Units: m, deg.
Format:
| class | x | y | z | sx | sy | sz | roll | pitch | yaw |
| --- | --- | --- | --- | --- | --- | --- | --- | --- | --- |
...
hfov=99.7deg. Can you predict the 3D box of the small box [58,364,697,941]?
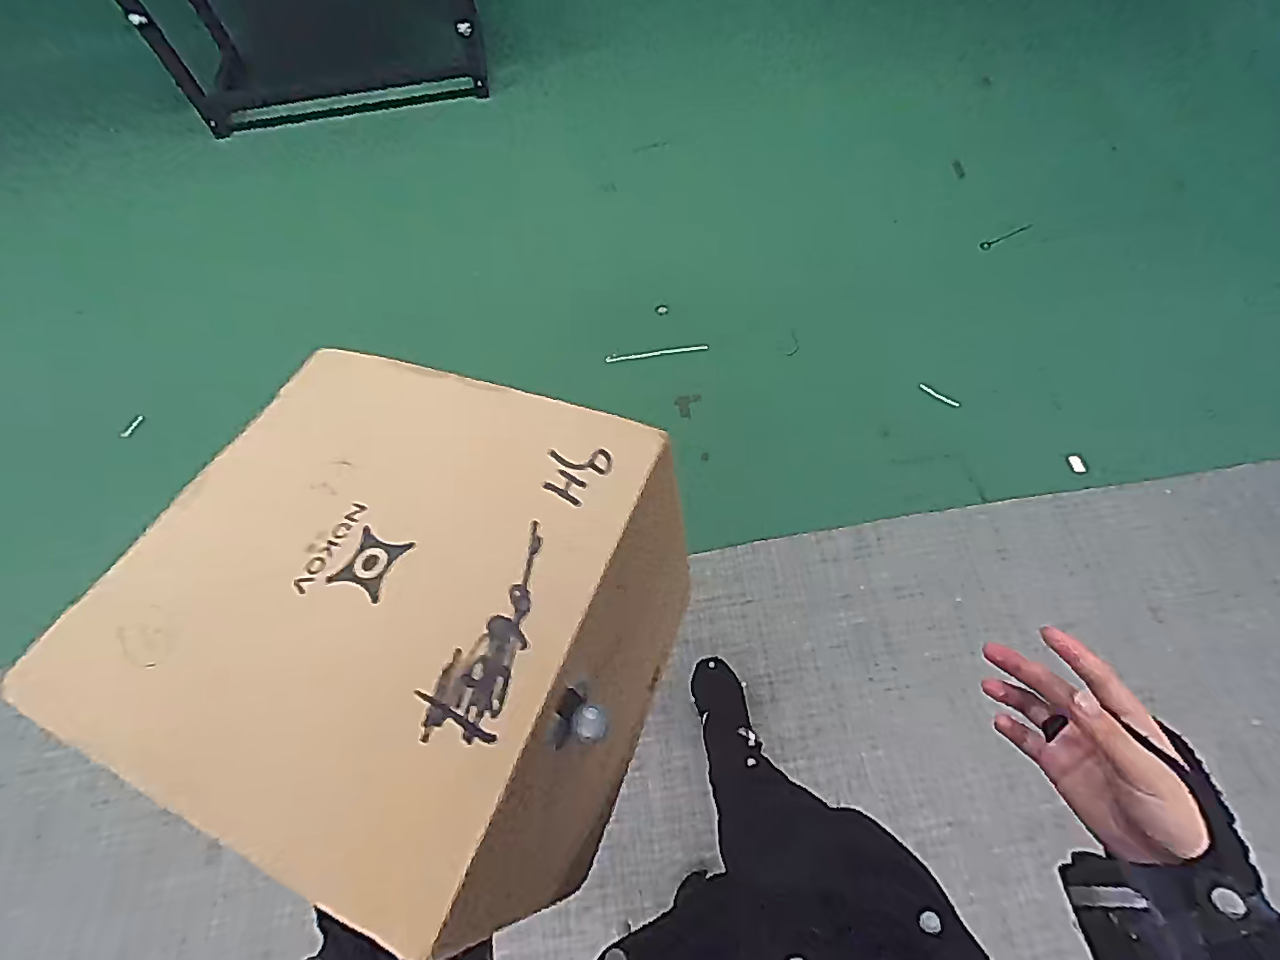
| class | x | y | z | sx | sy | sz | roll | pitch | yaw |
| --- | --- | --- | --- | --- | --- | --- | --- | --- | --- |
| small box | -0.081 | 0.072 | 0.262 | 0.179 | 0.176 | 0.168 | 14 | 62 | 18 |
